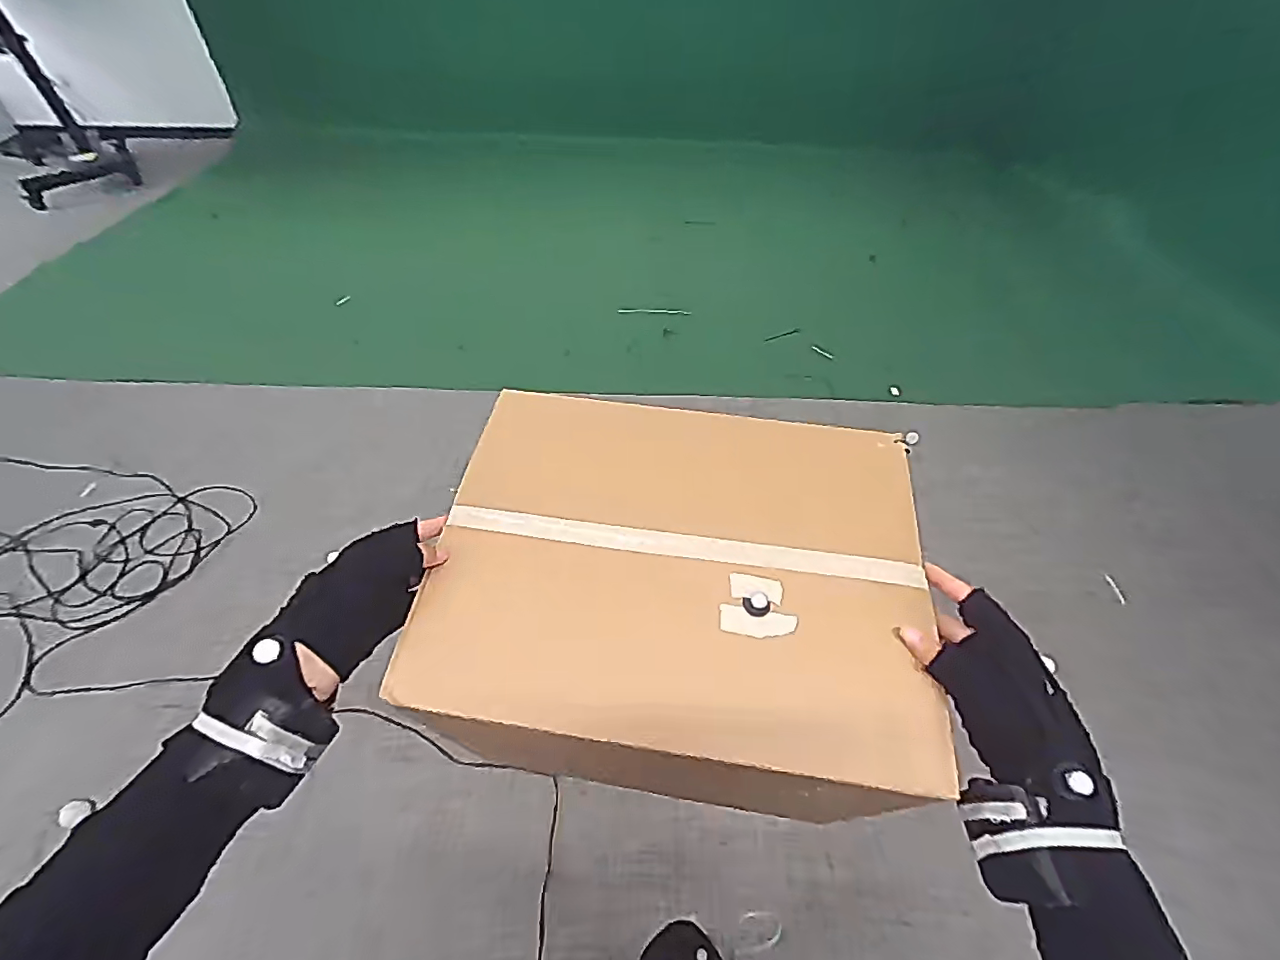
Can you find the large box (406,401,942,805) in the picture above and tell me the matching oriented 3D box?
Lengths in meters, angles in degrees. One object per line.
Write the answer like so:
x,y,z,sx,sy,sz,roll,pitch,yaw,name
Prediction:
0.036,0.143,0.598,0.408,0.320,0.320,7,56,5,large box
